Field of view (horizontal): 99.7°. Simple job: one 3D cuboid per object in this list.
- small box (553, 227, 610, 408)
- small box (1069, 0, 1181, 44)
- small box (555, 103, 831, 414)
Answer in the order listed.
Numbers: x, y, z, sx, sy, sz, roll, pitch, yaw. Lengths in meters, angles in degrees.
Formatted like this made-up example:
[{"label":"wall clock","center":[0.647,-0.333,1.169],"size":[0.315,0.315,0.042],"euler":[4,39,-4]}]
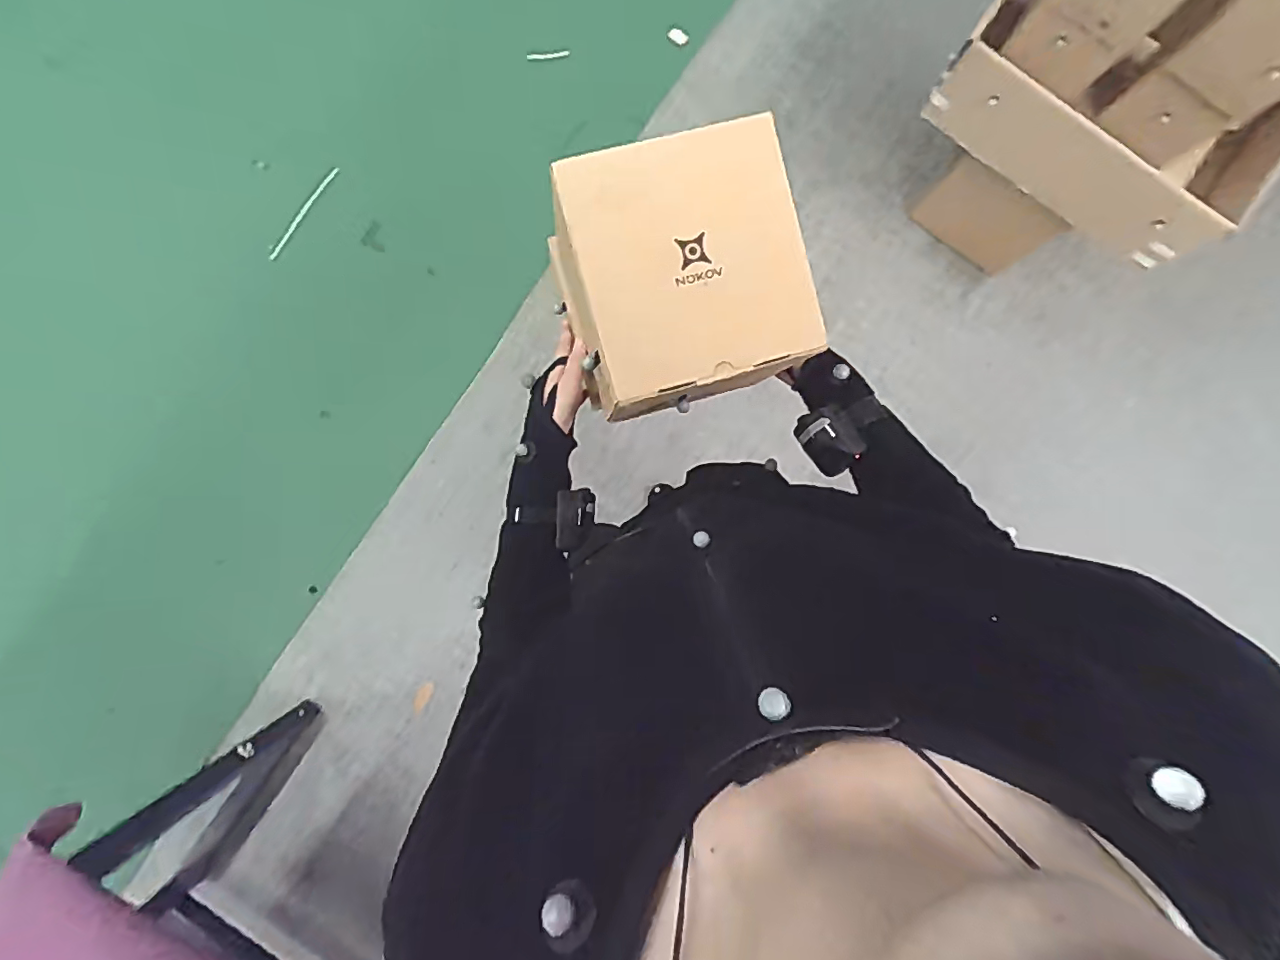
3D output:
[{"label":"small box","center":[0.007,-0.189,0.619],"size":[0.179,0.176,0.168],"euler":[-16,92,-6]},{"label":"small box","center":[0.843,-0.873,0.874],"size":[0.168,0.176,0.179],"euler":[35,89,1]},{"label":"small box","center":[0.030,-0.165,0.458],"size":[0.168,0.176,0.179],"euler":[-16,93,-5]}]
